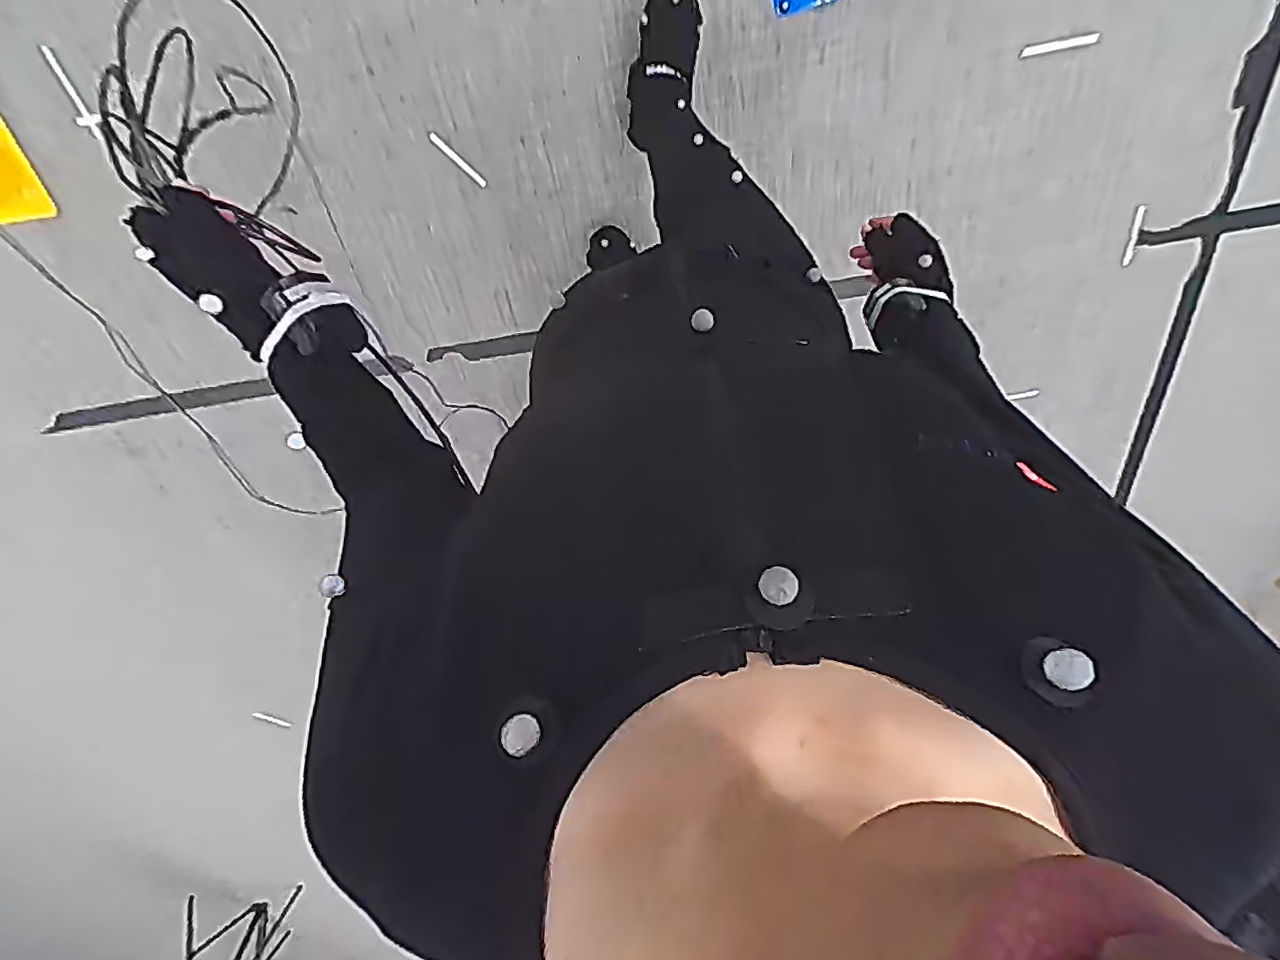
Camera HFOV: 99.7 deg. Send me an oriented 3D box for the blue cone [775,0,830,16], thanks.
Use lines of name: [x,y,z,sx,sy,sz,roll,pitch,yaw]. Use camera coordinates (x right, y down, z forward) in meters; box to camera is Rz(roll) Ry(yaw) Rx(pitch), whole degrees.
blue cone: [0.337,-0.909,0.852,0.193,0.380,0.192,-14,122,6]
